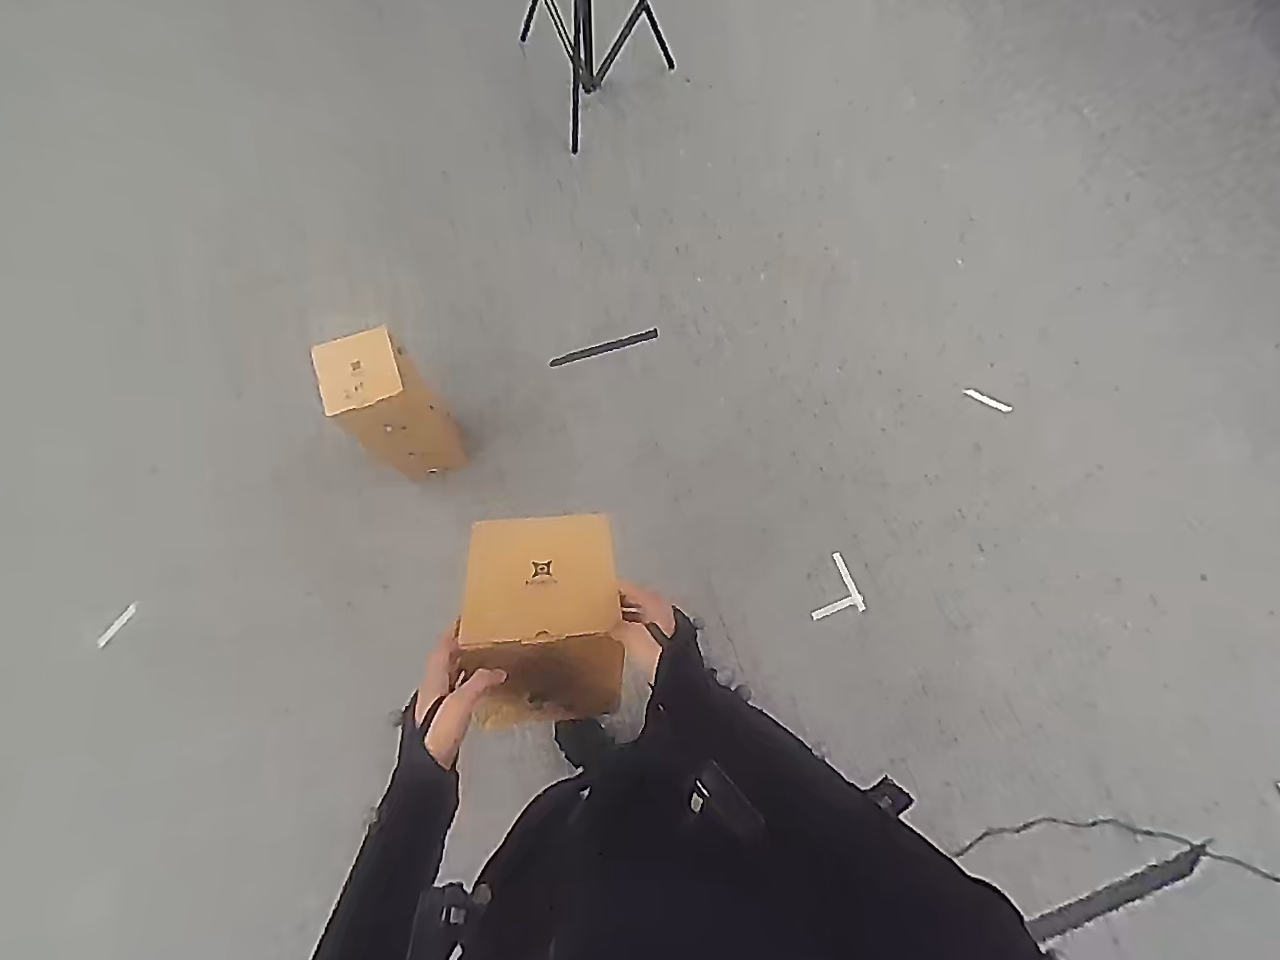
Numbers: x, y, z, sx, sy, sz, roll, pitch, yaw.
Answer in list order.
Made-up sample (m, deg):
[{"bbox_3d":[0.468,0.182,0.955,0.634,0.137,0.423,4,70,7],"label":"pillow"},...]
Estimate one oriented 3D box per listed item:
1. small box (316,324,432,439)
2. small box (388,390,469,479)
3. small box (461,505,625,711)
[{"bbox_3d":[-0.596,-0.217,1.227,0.168,0.176,0.179,-19,75,-7],"label":"small box"},{"bbox_3d":[-0.606,-0.125,1.541,0.168,0.176,0.179,-19,74,-8],"label":"small box"},{"bbox_3d":[-0.113,0.151,0.654,0.168,0.176,0.179,-3,41,-9],"label":"small box"}]
